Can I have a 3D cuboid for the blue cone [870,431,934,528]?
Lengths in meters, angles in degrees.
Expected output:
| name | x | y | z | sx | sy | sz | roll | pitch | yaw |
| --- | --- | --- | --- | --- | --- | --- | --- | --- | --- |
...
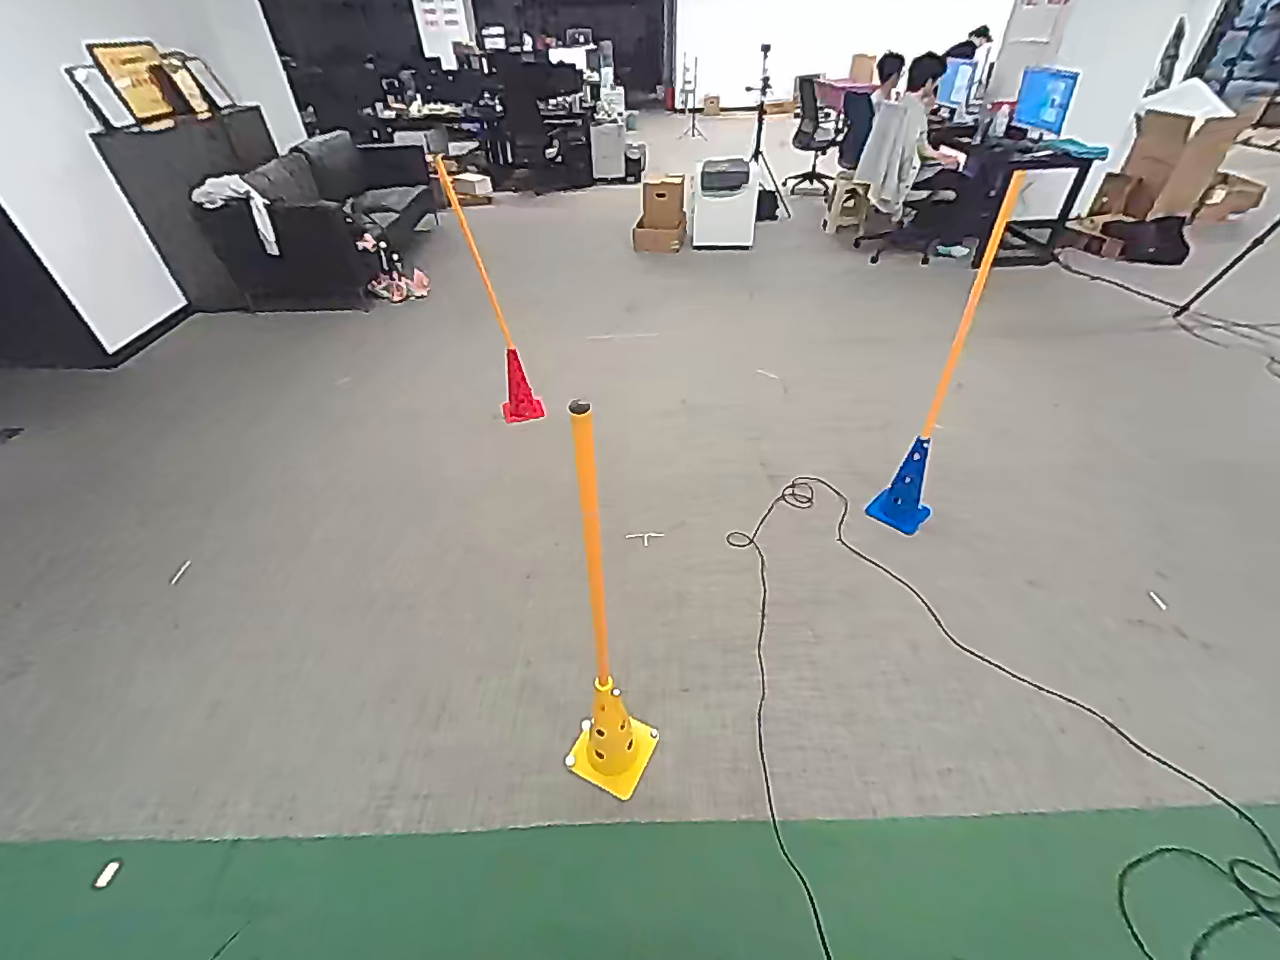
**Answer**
| name | x | y | z | sx | sy | sz | roll | pitch | yaw |
| --- | --- | --- | --- | --- | --- | --- | --- | --- | --- |
| blue cone | 1.030 | -0.021 | 2.057 | 0.192 | 0.380 | 0.193 | 29 | 47 | 33 |
